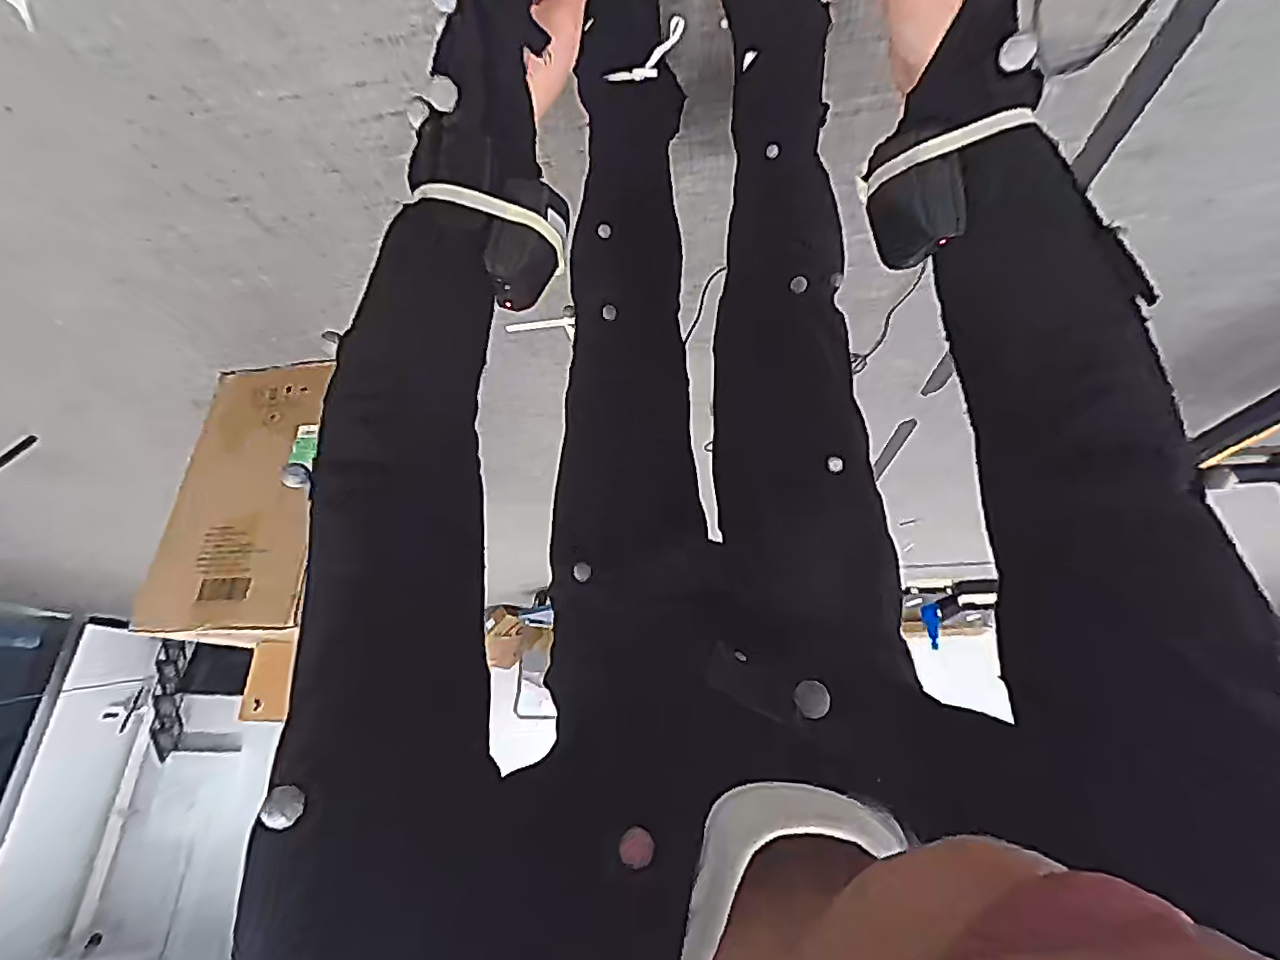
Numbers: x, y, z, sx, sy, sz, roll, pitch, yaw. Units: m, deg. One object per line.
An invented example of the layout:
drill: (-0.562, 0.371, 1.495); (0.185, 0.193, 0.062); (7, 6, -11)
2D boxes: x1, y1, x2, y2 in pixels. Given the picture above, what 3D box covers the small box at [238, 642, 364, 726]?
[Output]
small box: (-0.754, 0.461, 1.227); (0.179, 0.176, 0.168); (-2, 158, 7)
